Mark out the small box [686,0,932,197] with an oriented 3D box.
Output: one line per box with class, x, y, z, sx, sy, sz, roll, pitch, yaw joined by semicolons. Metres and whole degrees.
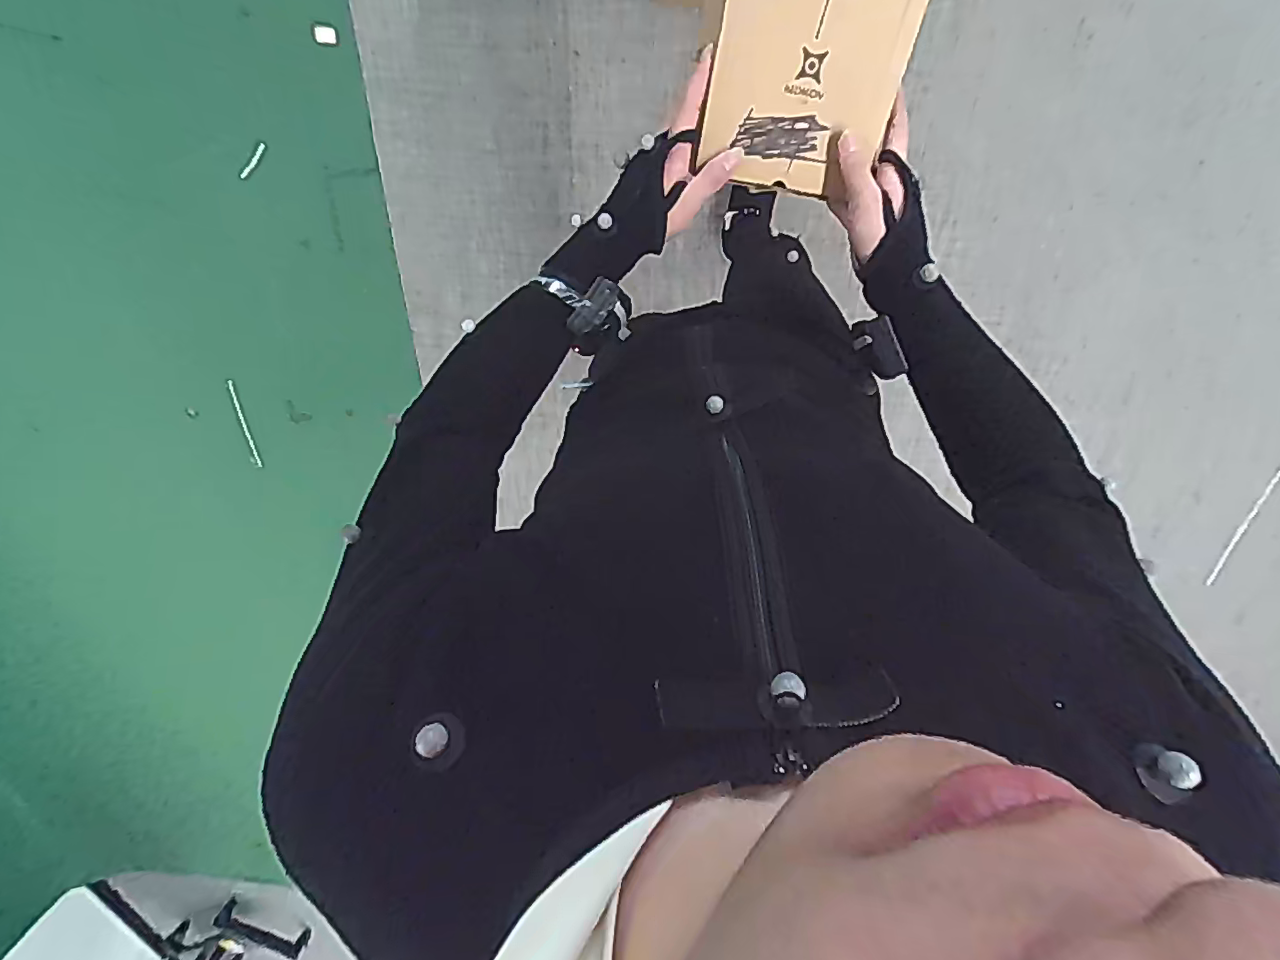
small box;0.144;-0.394;0.524;0.168;0.176;0.179;6;123;-6
